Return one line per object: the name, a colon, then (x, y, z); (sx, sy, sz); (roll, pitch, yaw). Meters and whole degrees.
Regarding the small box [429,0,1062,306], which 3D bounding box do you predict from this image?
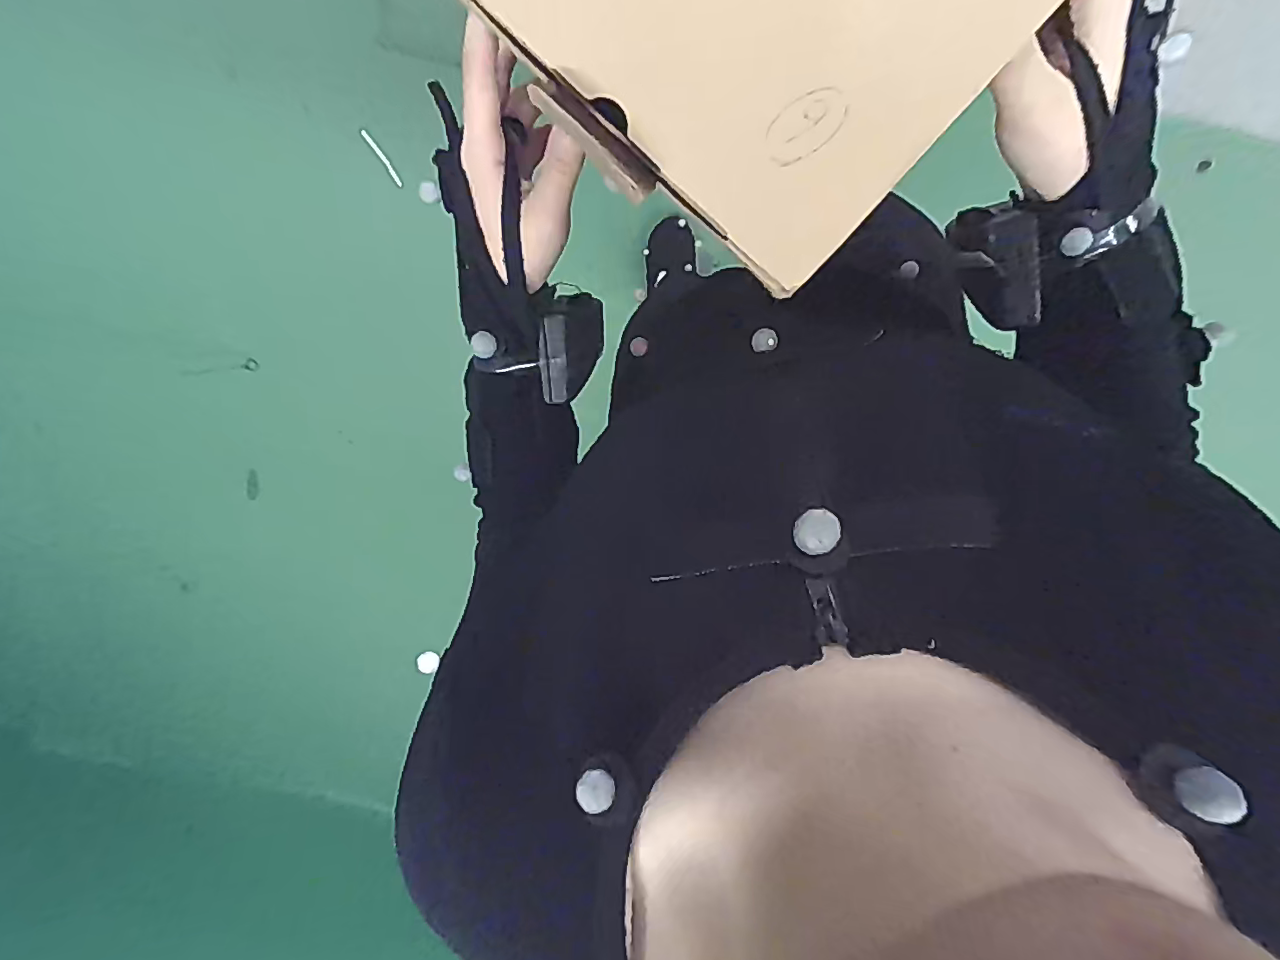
small box: (0.050, -0.203, 0.221); (0.168, 0.176, 0.179); (38, 114, -12)
